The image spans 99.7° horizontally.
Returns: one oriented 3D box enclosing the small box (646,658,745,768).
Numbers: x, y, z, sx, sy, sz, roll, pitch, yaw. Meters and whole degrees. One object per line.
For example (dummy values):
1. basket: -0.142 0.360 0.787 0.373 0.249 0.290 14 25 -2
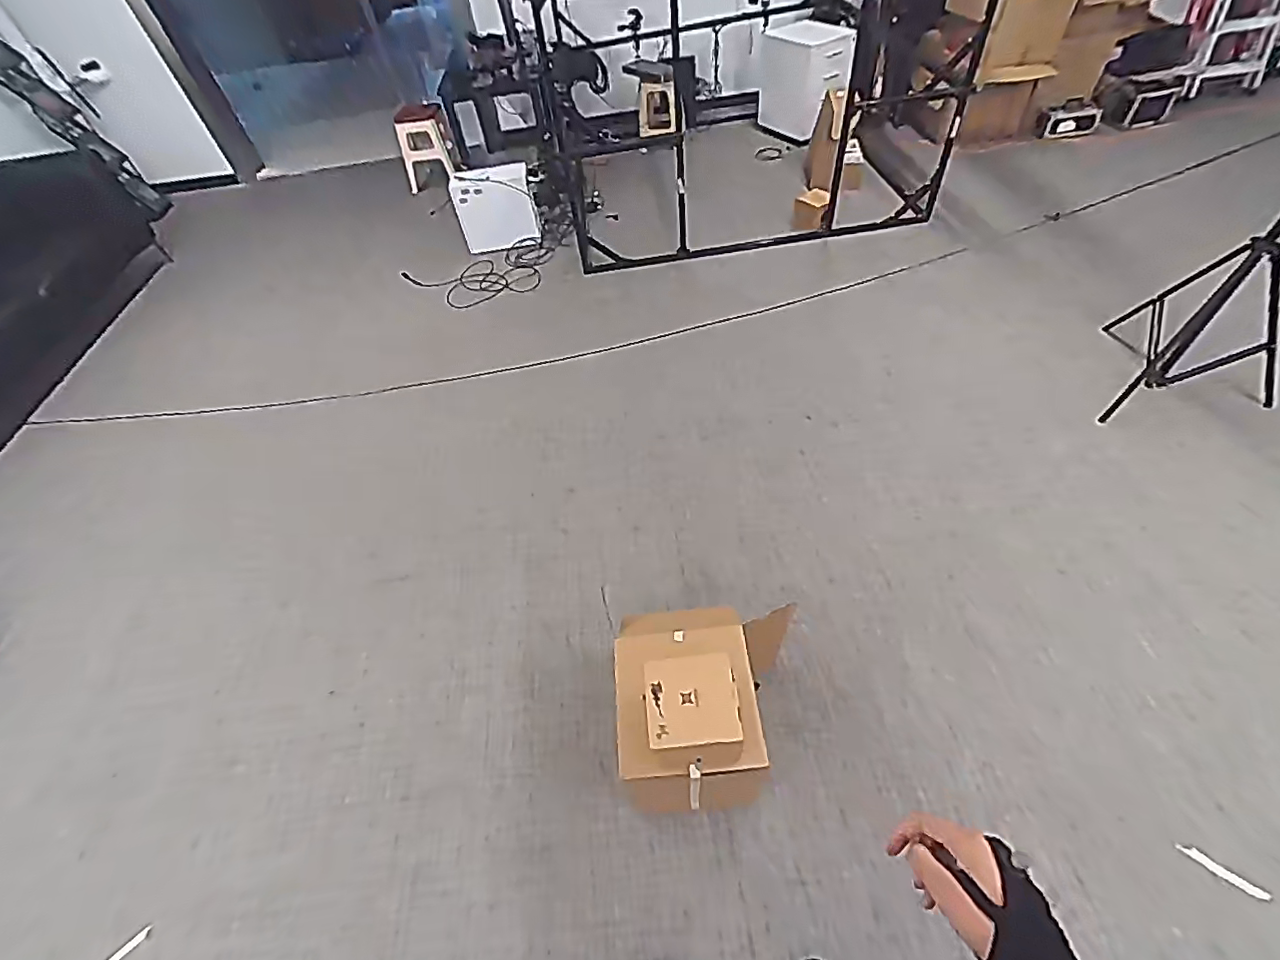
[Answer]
1. small box: 0.108 0.477 1.103 0.179 0.176 0.168 -6 52 2
